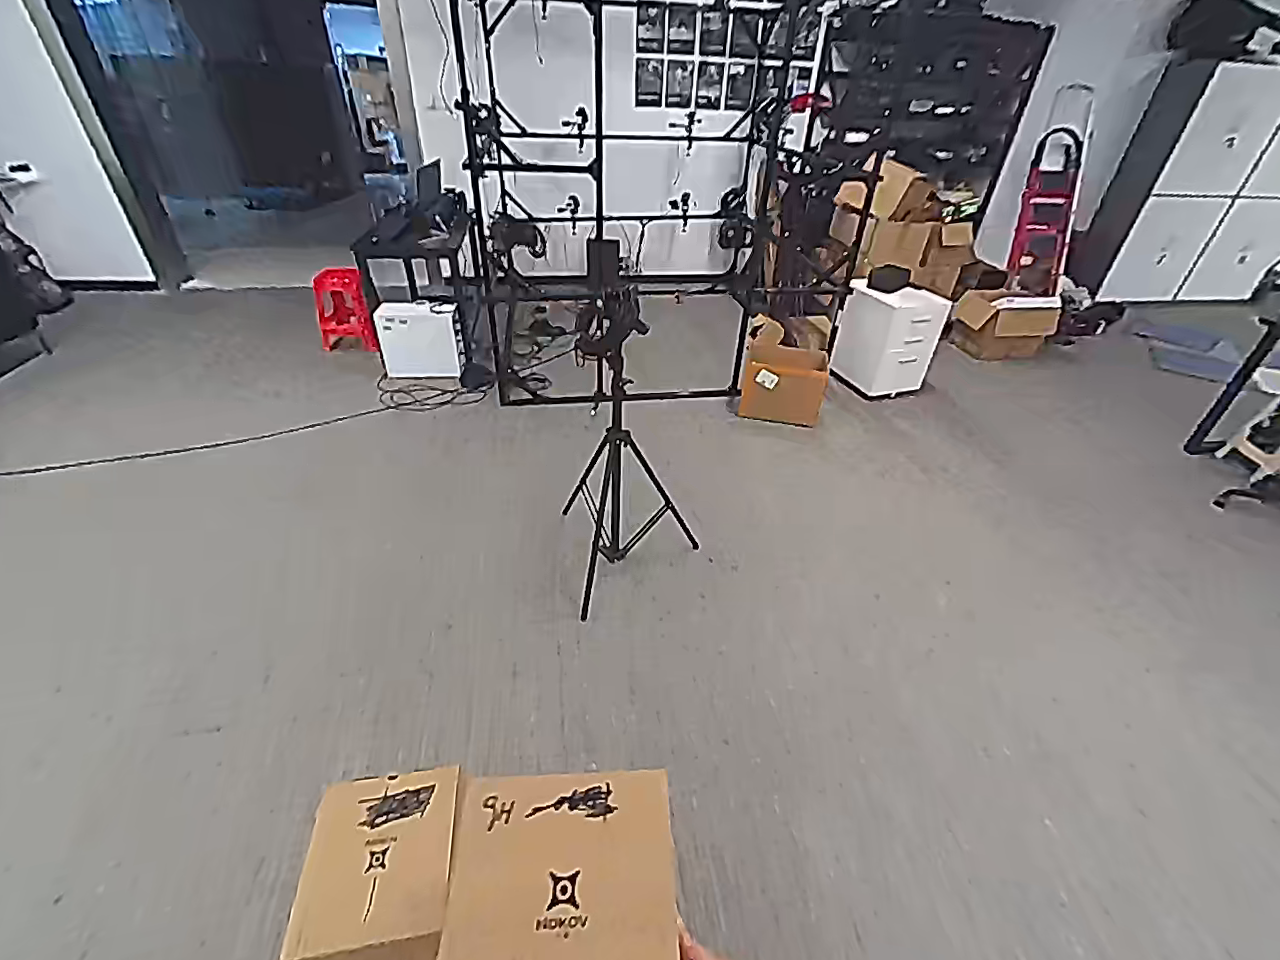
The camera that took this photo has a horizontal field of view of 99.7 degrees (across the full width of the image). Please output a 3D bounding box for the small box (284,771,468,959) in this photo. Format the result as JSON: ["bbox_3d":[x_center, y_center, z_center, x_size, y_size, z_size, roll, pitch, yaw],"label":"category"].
[{"bbox_3d":[-0.296,0.498,0.670,0.168,0.176,0.179,-6,39,-8],"label":"small box"}]

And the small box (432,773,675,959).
[{"bbox_3d":[-0.057,0.355,0.433,0.168,0.176,0.179,-3,48,-2],"label":"small box"}]
